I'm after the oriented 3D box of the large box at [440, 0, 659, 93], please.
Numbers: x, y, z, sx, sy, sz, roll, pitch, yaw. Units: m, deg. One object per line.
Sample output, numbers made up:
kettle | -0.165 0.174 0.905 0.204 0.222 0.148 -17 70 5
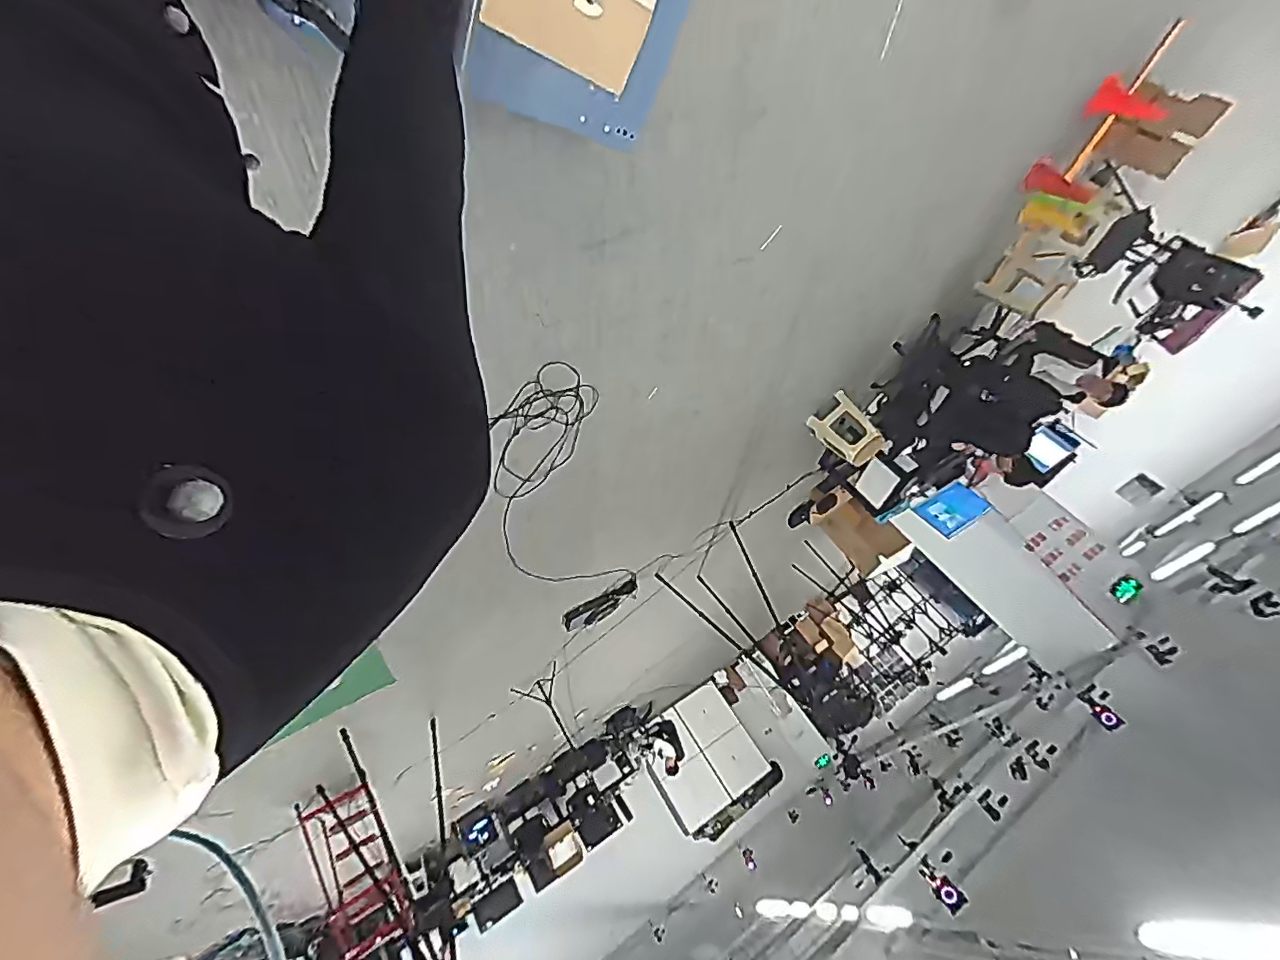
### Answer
large box | -0.194 -0.960 0.928 0.408 0.320 0.320 -8 140 -45
